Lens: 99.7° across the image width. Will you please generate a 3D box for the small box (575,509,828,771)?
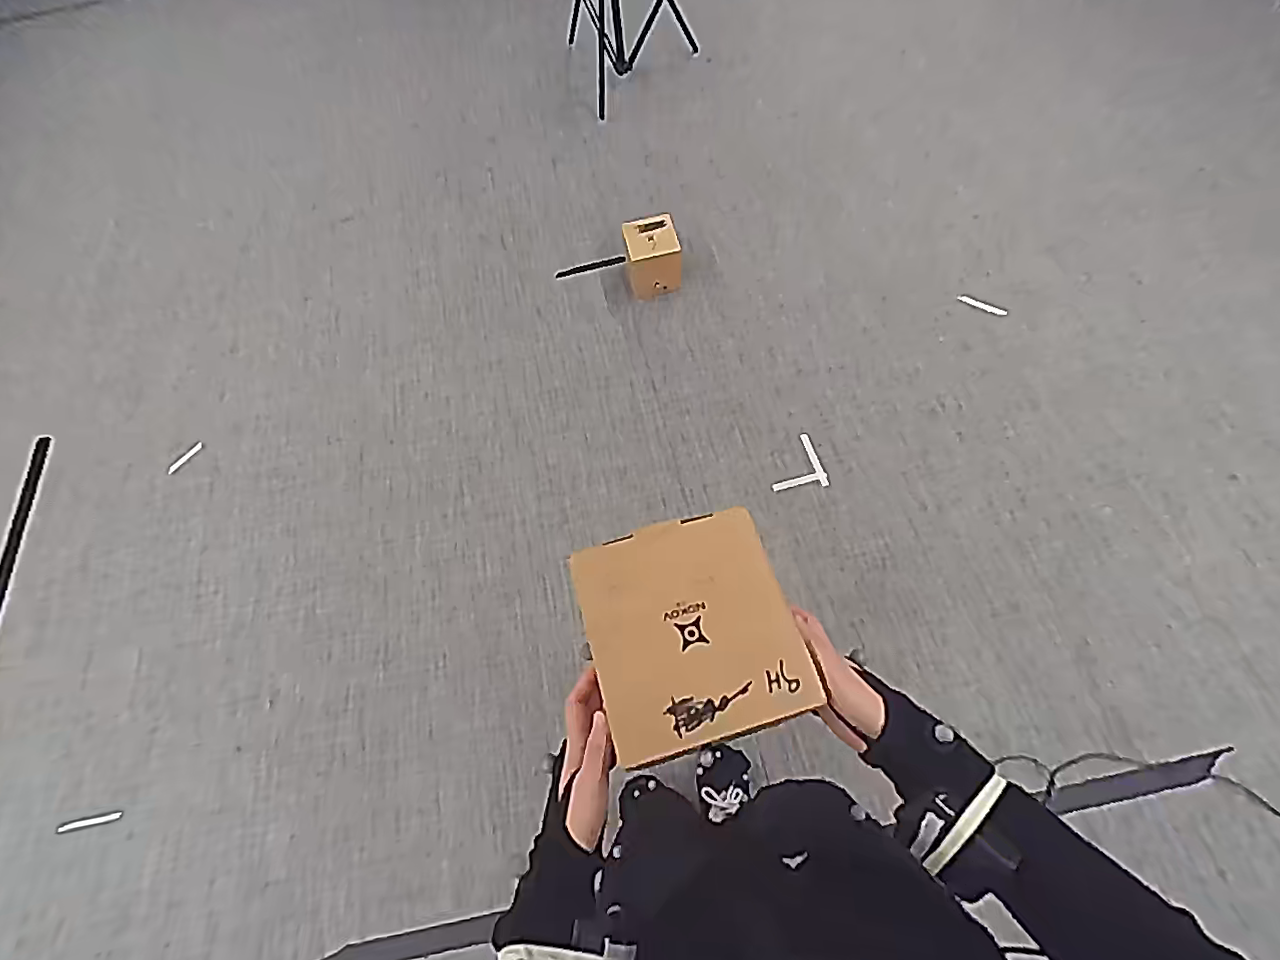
[{"bbox_3d":[0.044,0.155,0.505,0.168,0.176,0.179,-15,62,-6],"label":"small box"}]
